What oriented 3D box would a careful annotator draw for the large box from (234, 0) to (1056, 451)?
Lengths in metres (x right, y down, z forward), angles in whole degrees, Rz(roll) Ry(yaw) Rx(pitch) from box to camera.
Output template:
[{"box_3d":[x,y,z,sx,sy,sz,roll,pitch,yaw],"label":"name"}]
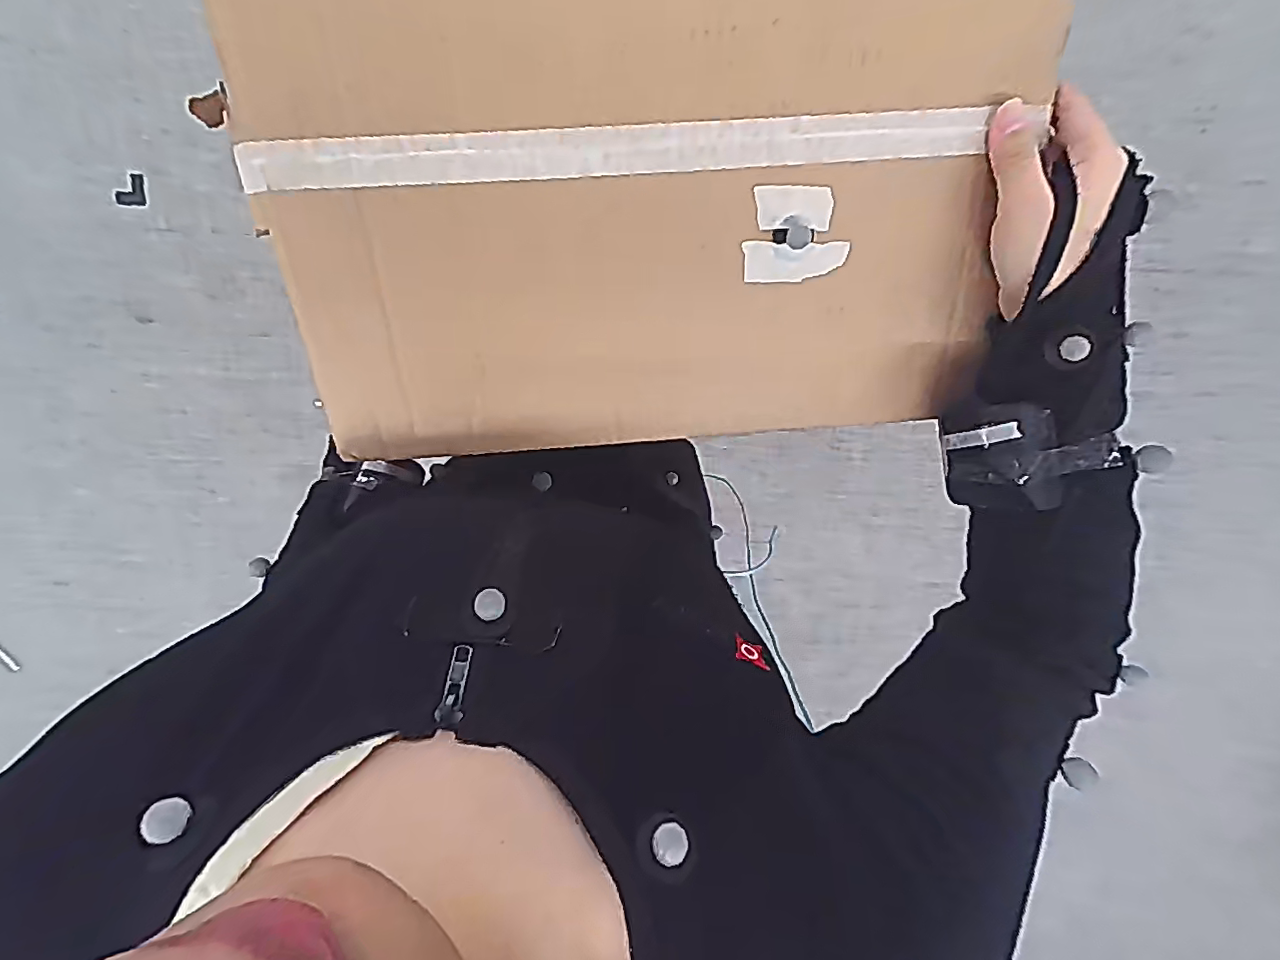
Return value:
[{"box_3d":[0.000,-0.235,0.420,0.408,0.320,0.320,-5,114,-4],"label":"large box"}]
